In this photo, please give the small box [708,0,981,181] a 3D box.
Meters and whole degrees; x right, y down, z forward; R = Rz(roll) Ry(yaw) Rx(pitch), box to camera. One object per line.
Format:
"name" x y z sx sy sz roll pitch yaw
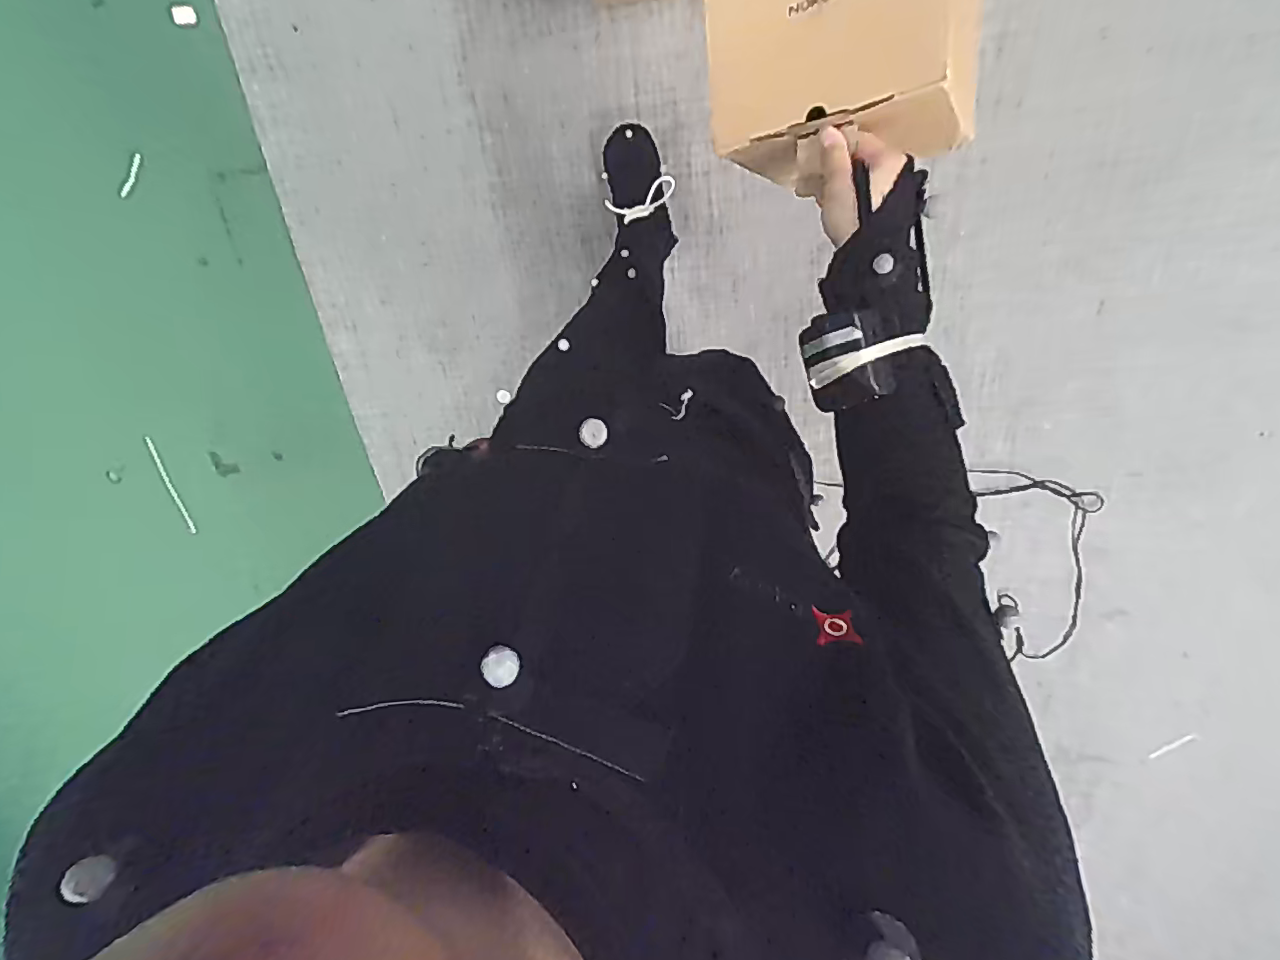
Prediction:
"small box" 0.164 -0.360 0.424 0.168 0.176 0.179 5 108 34
